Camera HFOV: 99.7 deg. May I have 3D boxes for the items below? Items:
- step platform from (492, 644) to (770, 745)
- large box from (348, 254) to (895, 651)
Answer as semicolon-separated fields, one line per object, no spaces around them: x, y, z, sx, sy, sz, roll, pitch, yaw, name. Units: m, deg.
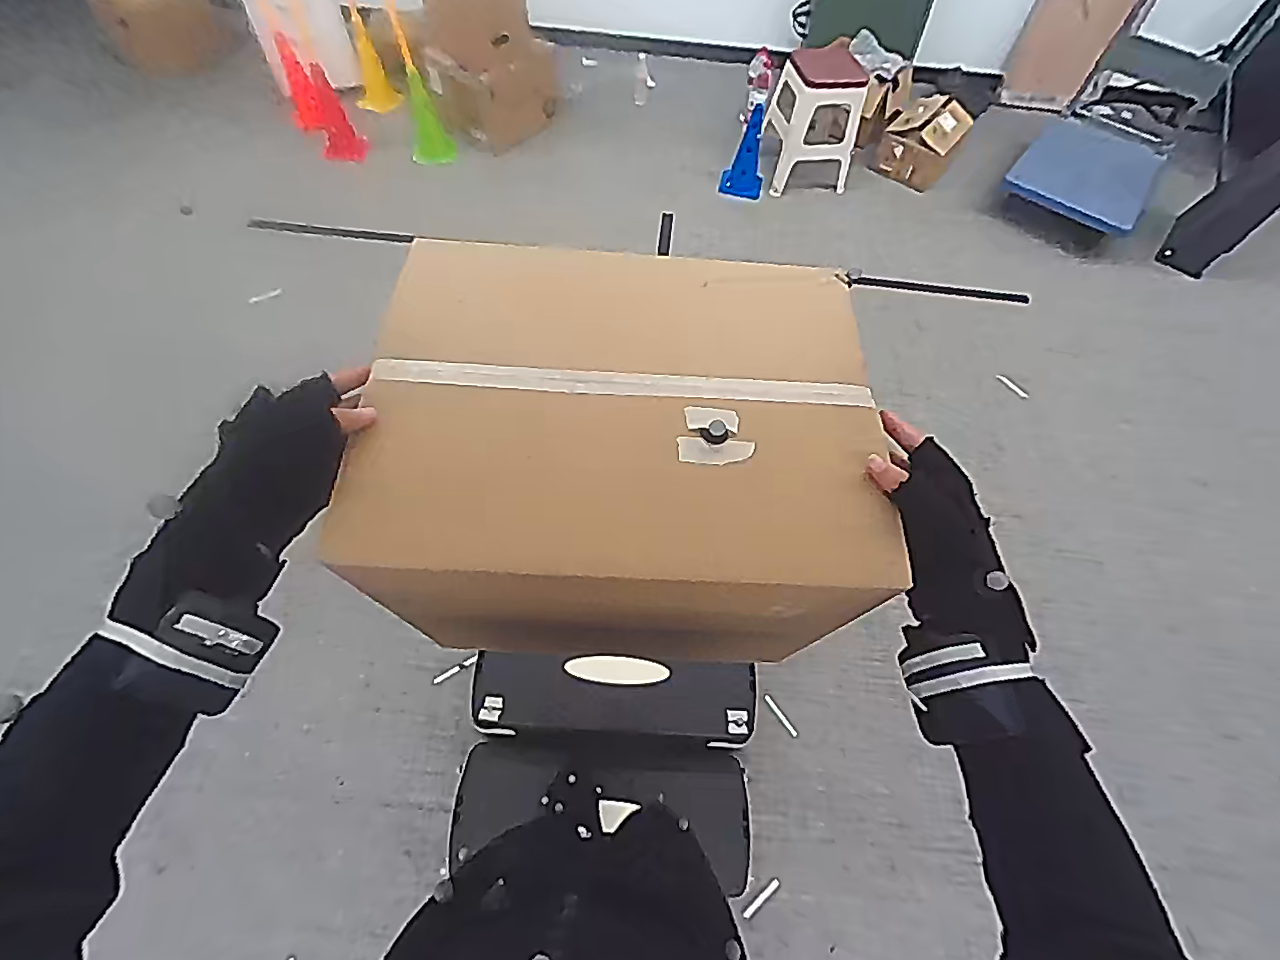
-0.021;0.493;1.372;0.684;0.204;0.286;4;59;-2;step platform
-0.017;-0.003;0.586;0.408;0.320;0.320;4;63;-3;large box
